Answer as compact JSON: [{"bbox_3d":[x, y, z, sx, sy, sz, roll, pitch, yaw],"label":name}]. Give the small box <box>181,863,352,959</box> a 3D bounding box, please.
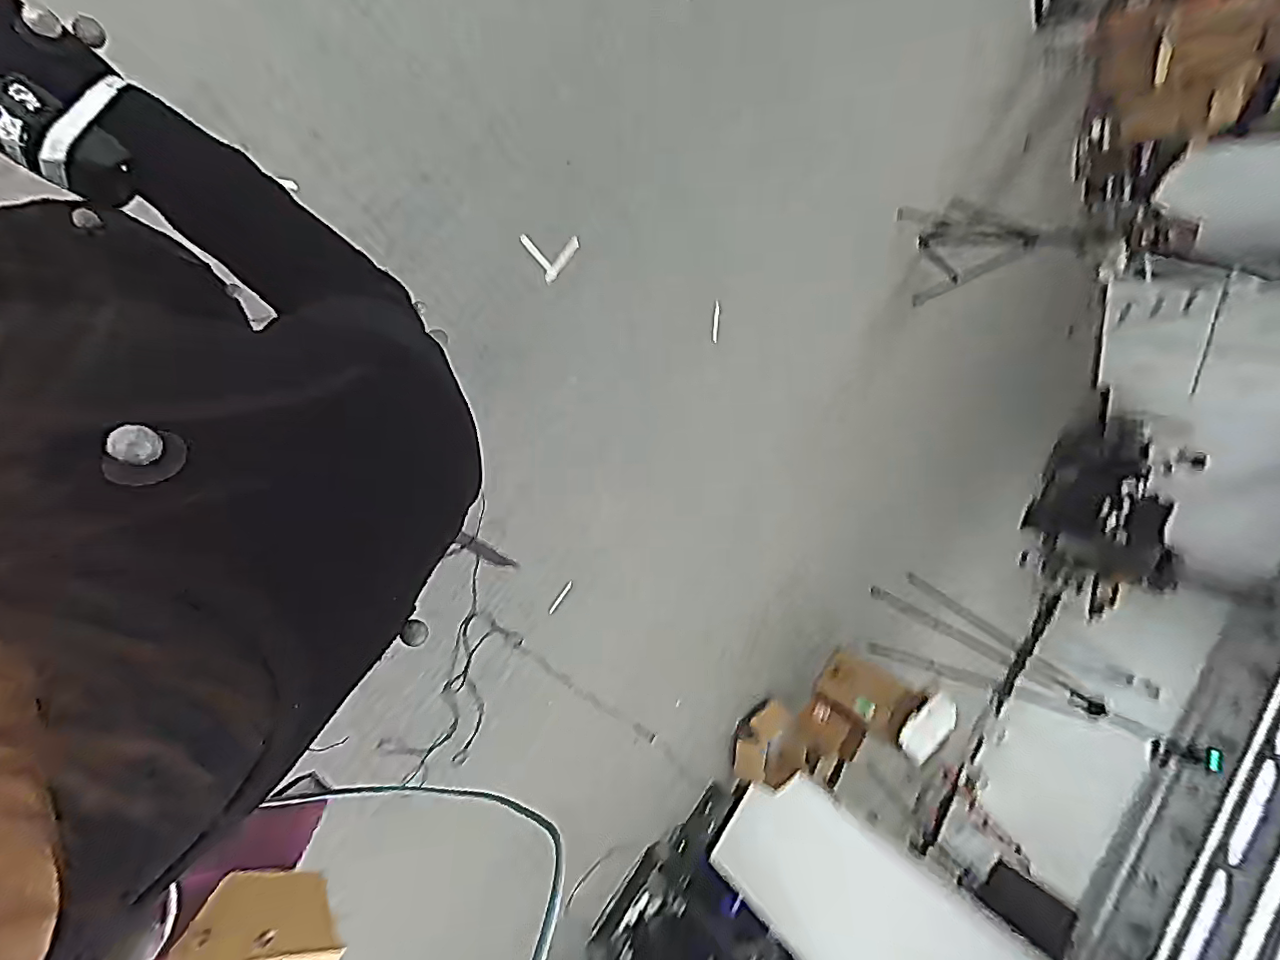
[{"bbox_3d":[-0.640,0.794,0.927,0.179,0.176,0.168,41,80,-43],"label":"small box"}]
